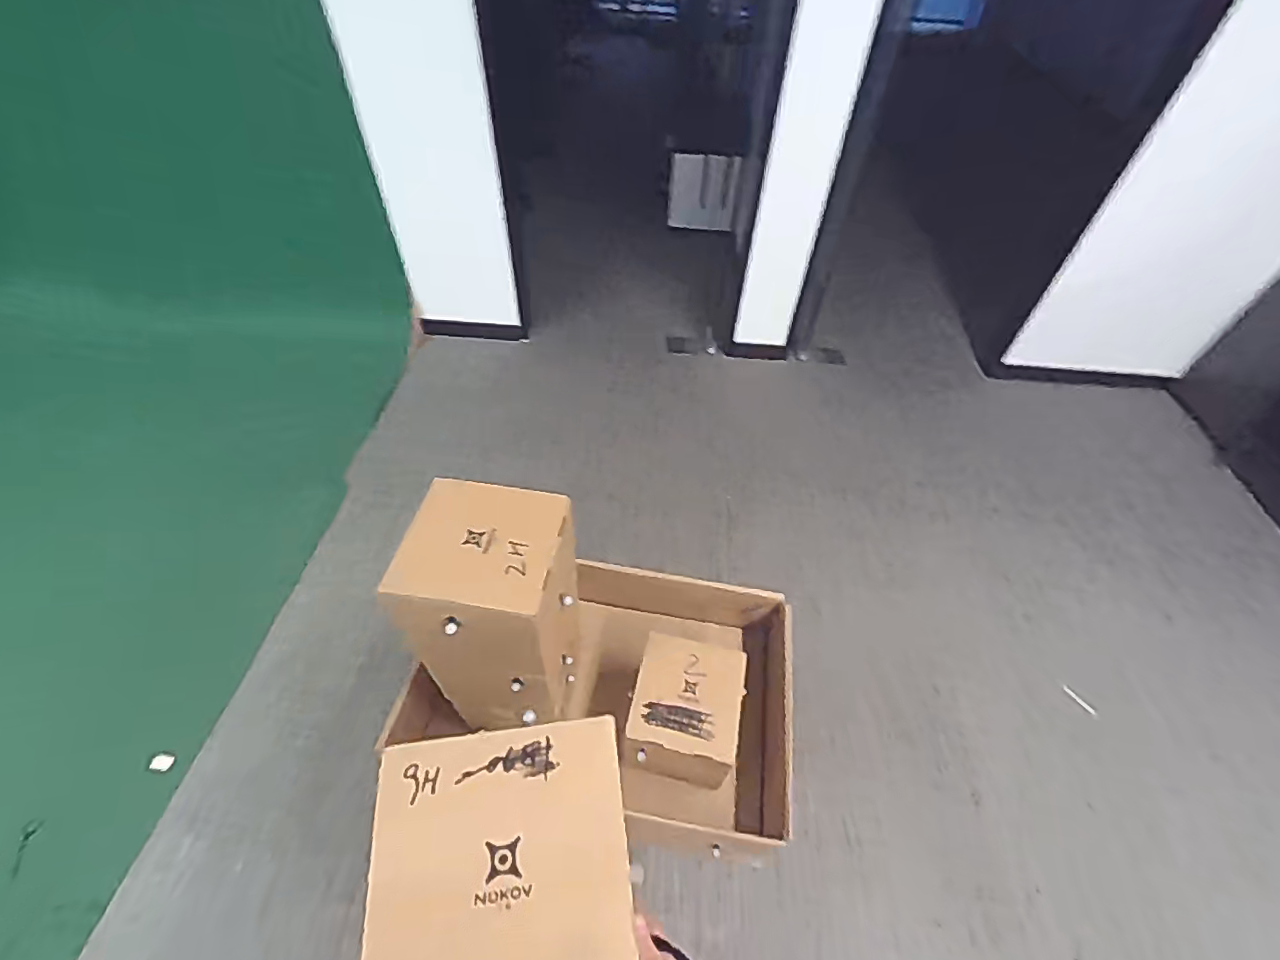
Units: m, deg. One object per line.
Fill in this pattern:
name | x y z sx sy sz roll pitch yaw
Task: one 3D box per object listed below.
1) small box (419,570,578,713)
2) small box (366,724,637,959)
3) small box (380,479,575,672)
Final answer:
small box | -0.197 0.230 0.808 0.179 0.176 0.168 10 49 3
small box | -0.093 0.300 0.415 0.168 0.176 0.179 -4 59 -8
small box | -0.186 0.124 0.682 0.179 0.176 0.168 9 50 3
